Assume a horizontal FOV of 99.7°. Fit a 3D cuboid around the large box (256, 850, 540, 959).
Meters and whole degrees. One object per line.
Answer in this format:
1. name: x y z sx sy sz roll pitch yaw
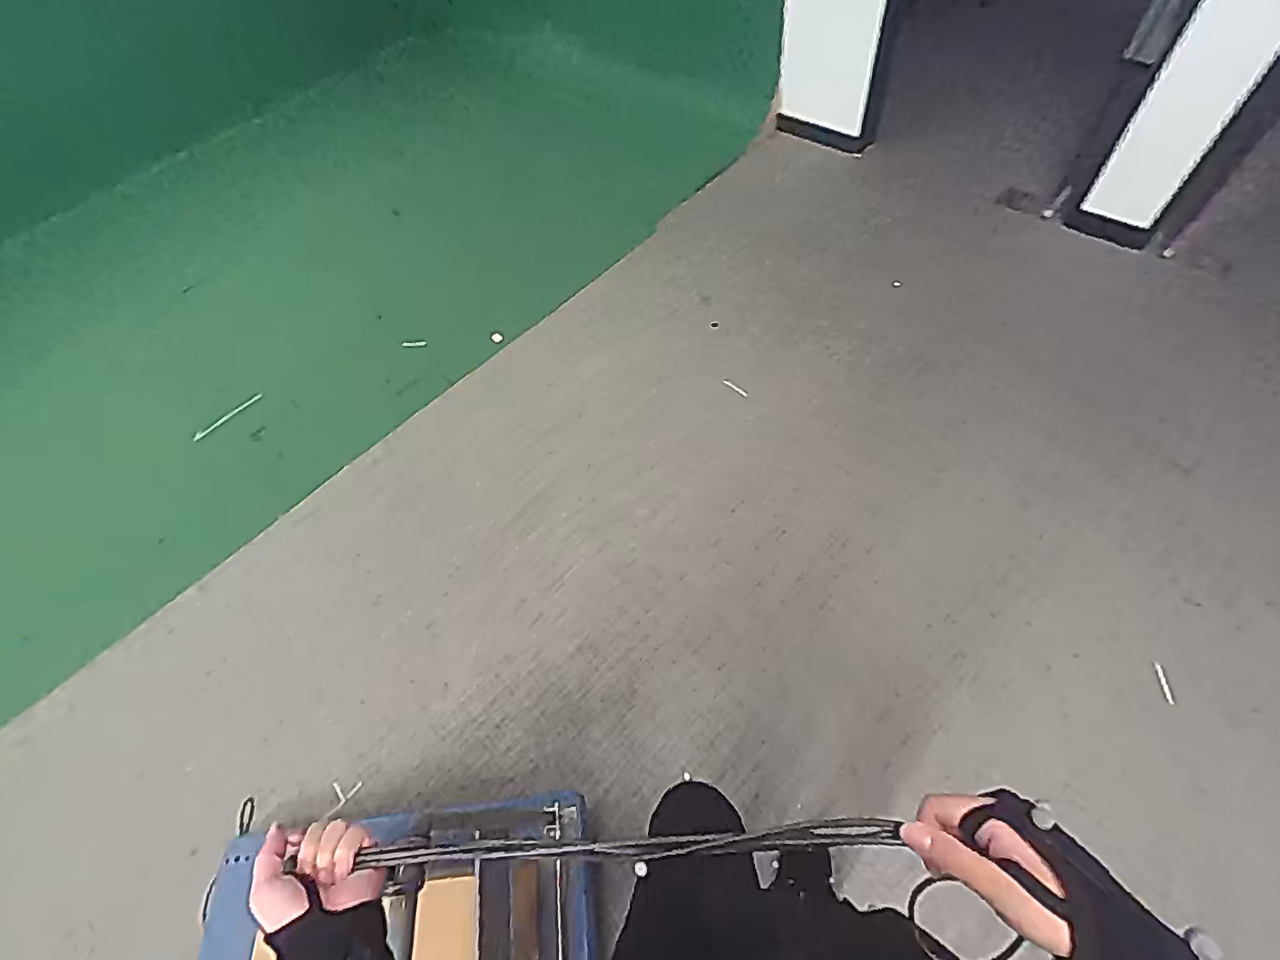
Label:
1. large box: -0.421 0.902 0.992 0.408 0.320 0.320 -10 58 5
